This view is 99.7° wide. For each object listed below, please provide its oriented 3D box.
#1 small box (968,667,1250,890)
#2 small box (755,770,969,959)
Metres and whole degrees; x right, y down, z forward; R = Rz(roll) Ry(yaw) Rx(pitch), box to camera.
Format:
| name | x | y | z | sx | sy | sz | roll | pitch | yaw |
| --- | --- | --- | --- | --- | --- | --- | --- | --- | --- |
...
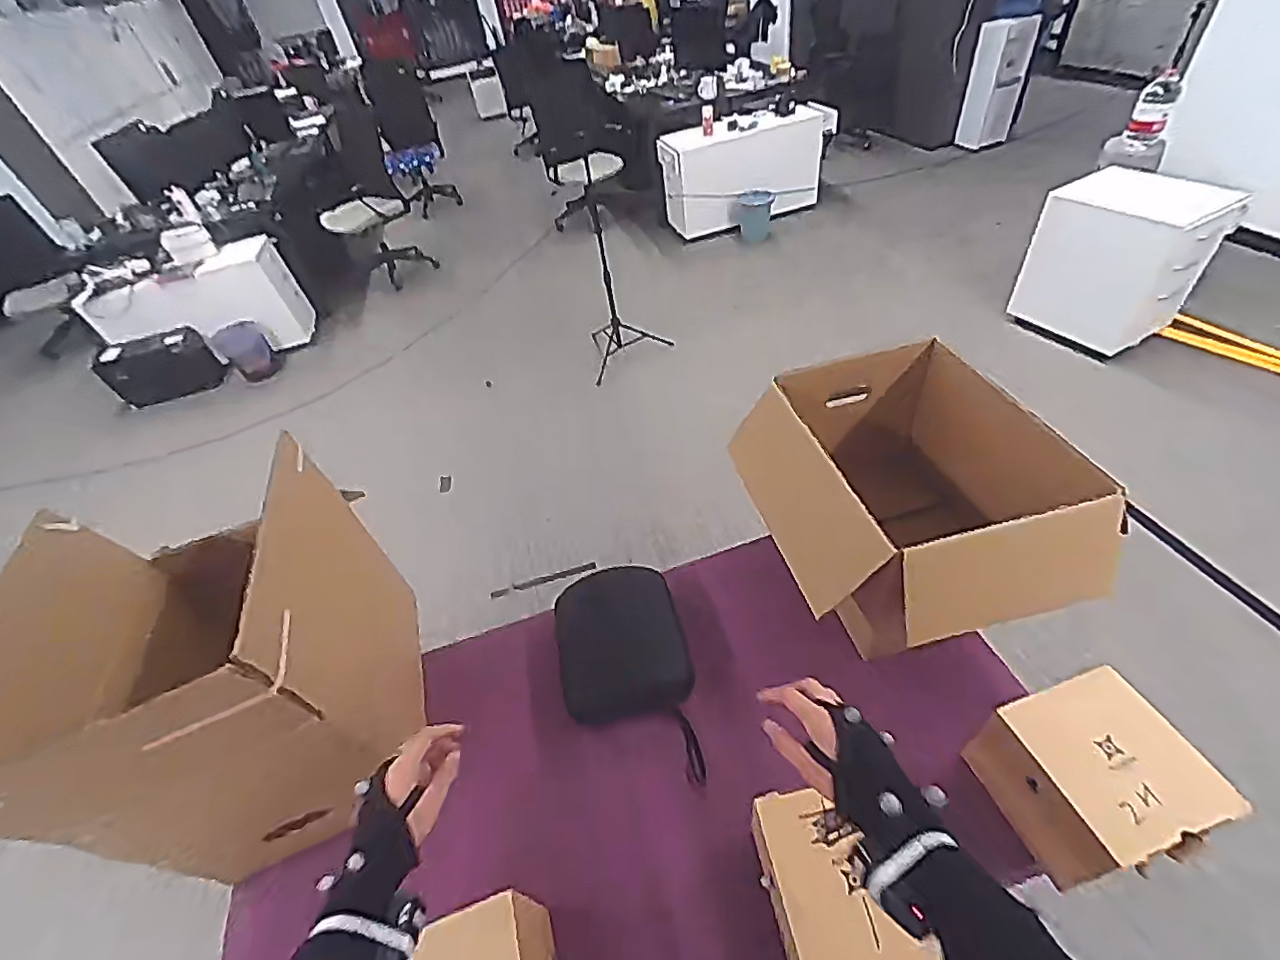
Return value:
| name | x | y | z | sx | sy | sz | roll | pitch | yaw |
| --- | --- | --- | --- | --- | --- | --- | --- | --- | --- |
| small box | 0.554 | 0.372 | 0.676 | 0.168 | 0.176 | 0.179 | -18 | 45 | -5 |
| small box | 0.239 | 0.476 | 0.641 | 0.168 | 0.176 | 0.179 | -13 | 46 | -1 |
